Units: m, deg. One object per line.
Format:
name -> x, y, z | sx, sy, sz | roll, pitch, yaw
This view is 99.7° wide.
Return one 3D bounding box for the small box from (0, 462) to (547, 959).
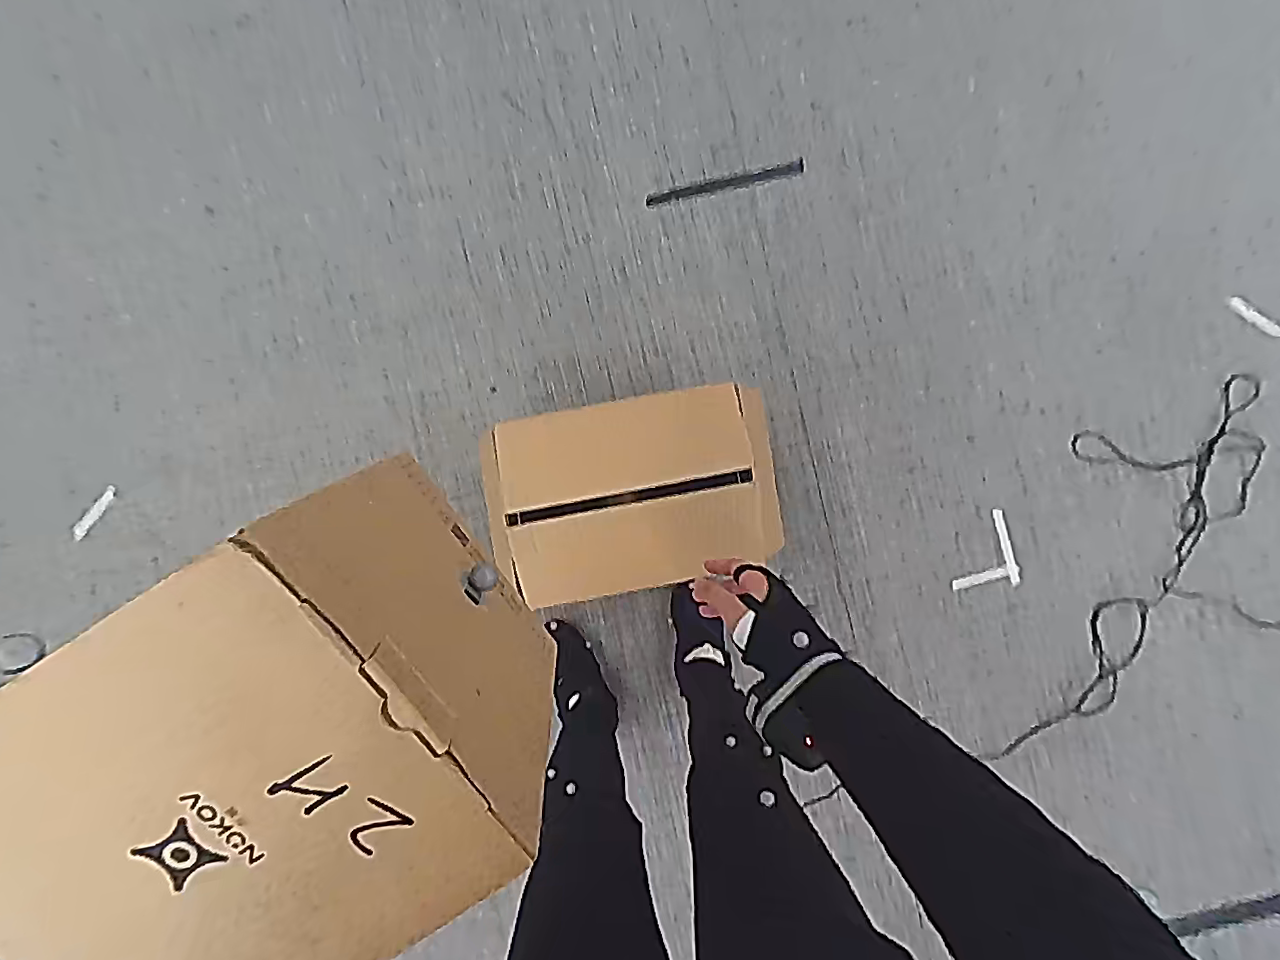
small box -> -0.164, 0.112, 0.284 | 0.179, 0.176, 0.168 | -33, 105, 1
